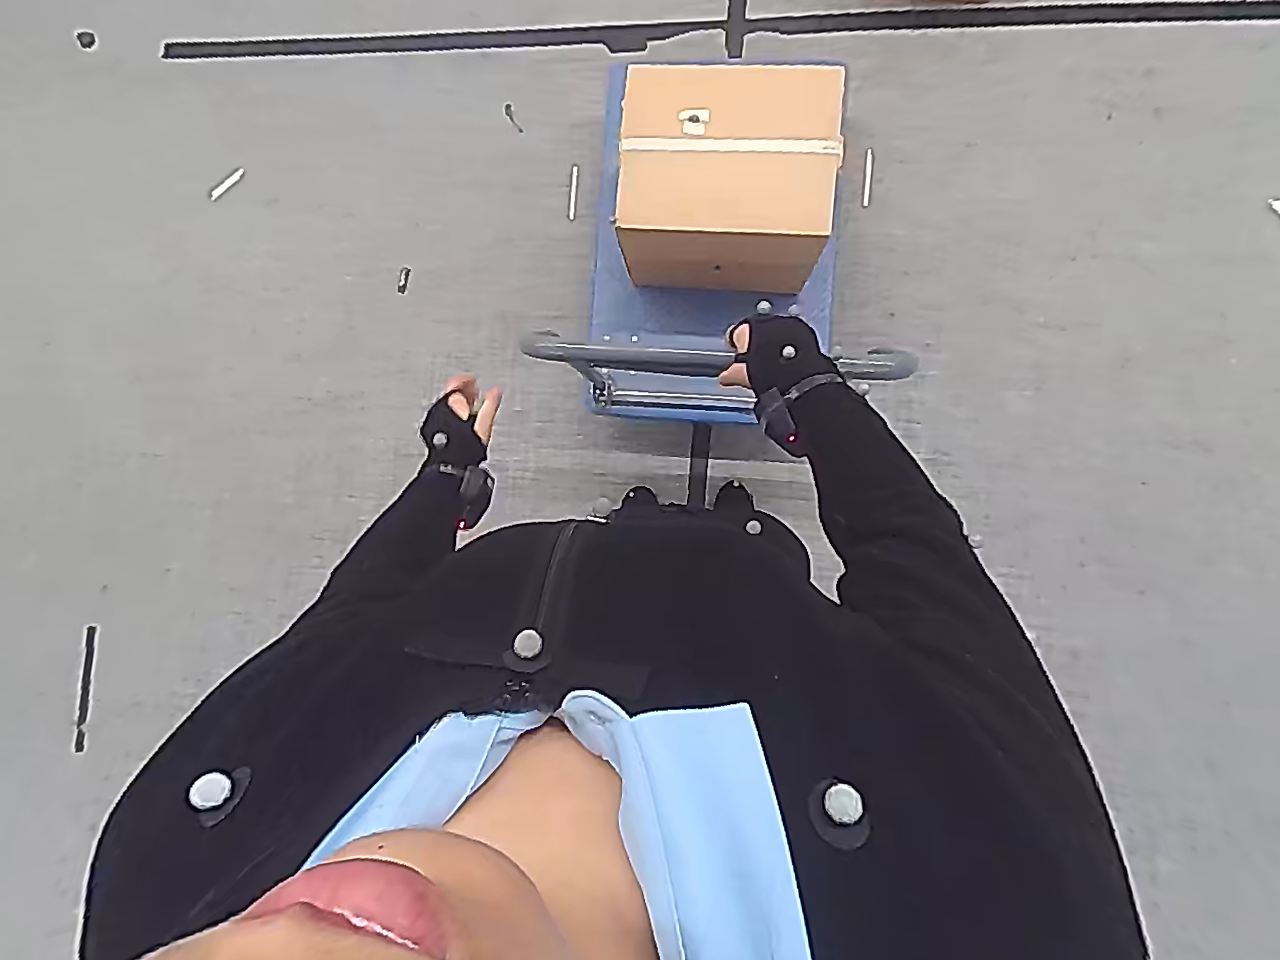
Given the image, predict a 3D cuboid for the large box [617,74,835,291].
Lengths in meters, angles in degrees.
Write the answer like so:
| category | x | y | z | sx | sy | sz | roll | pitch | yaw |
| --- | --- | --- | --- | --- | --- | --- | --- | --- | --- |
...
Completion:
| category | x | y | z | sx | sy | sz | roll | pitch | yaw |
| --- | --- | --- | --- | --- | --- | --- | --- | --- | --- |
| large box | 0.180 | -0.617 | 1.179 | 0.408 | 0.320 | 0.320 | 5 | 89 | 7 |
